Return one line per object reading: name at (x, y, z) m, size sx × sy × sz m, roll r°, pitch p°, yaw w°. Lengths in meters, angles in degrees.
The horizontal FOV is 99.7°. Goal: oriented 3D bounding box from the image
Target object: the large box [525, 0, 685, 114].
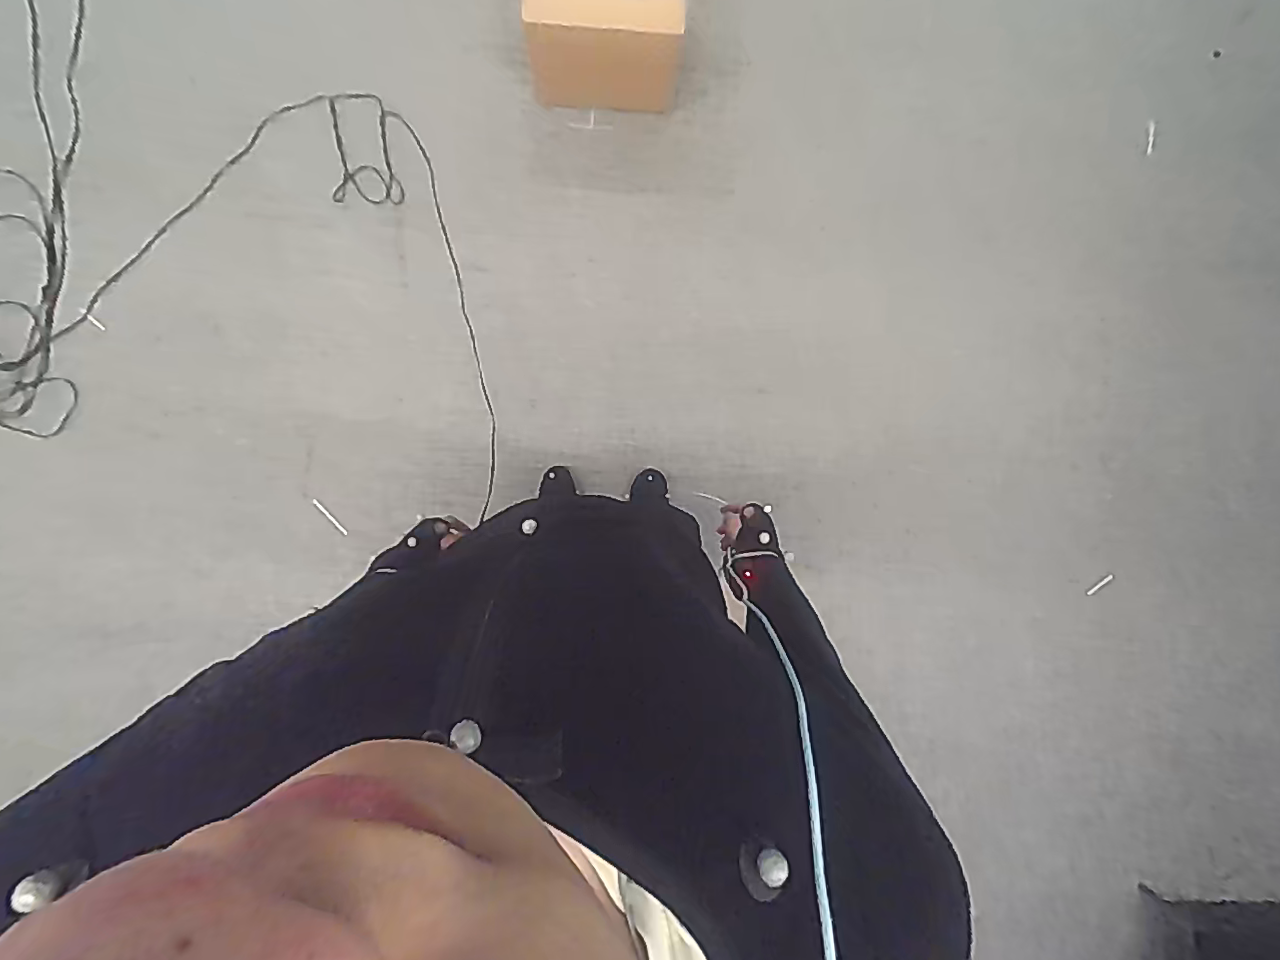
large box at (-0.092, -1.262, 1.487) m, size 0.408 × 0.320 × 0.320 m, roll 2°, pitch 91°, yaw -3°
